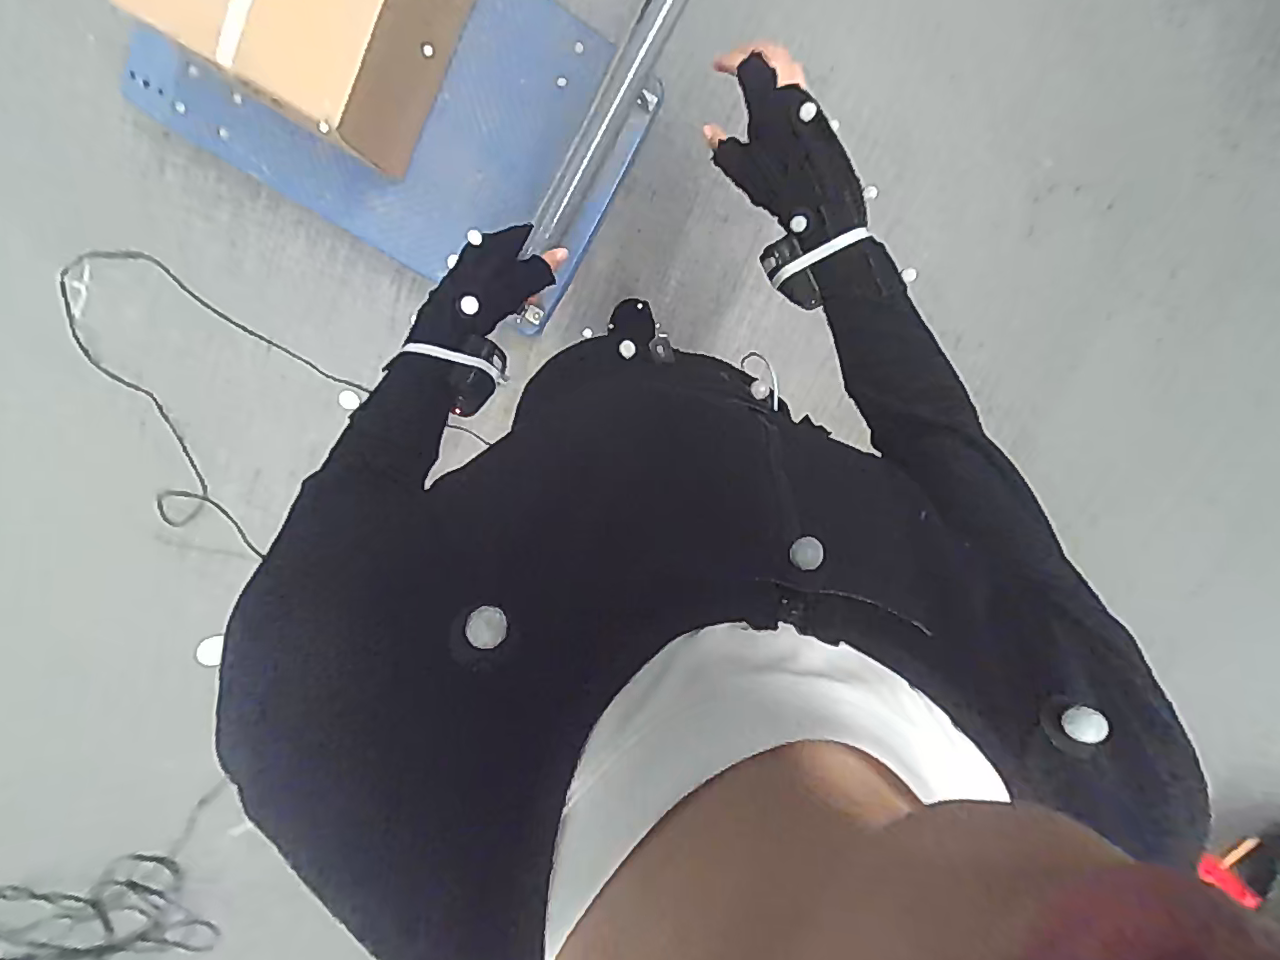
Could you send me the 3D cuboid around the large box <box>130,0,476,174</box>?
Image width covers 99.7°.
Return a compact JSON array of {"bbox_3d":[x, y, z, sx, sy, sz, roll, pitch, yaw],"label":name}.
[{"bbox_3d":[-0.491,-0.802,0.872,0.320,0.320,0.408,27,102,-12],"label":"large box"}]
